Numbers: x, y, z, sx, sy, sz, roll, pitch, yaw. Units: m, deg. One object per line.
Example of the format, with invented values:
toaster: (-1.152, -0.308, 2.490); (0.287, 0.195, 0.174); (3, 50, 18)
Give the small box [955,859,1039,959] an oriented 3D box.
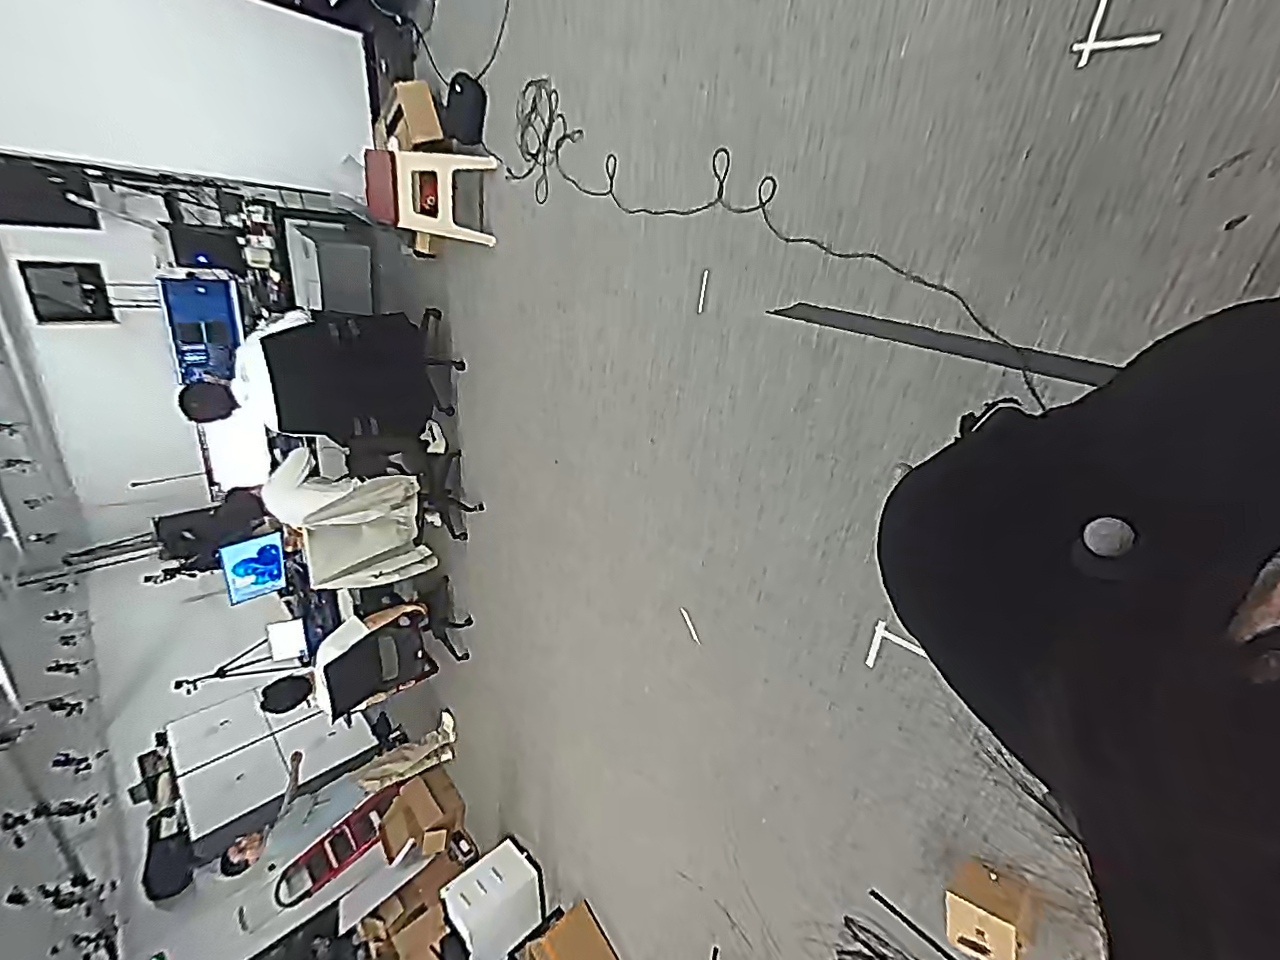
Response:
small box: (0.997, 1.221, 1.507); (0.168, 0.176, 0.179); (3, 104, 46)
